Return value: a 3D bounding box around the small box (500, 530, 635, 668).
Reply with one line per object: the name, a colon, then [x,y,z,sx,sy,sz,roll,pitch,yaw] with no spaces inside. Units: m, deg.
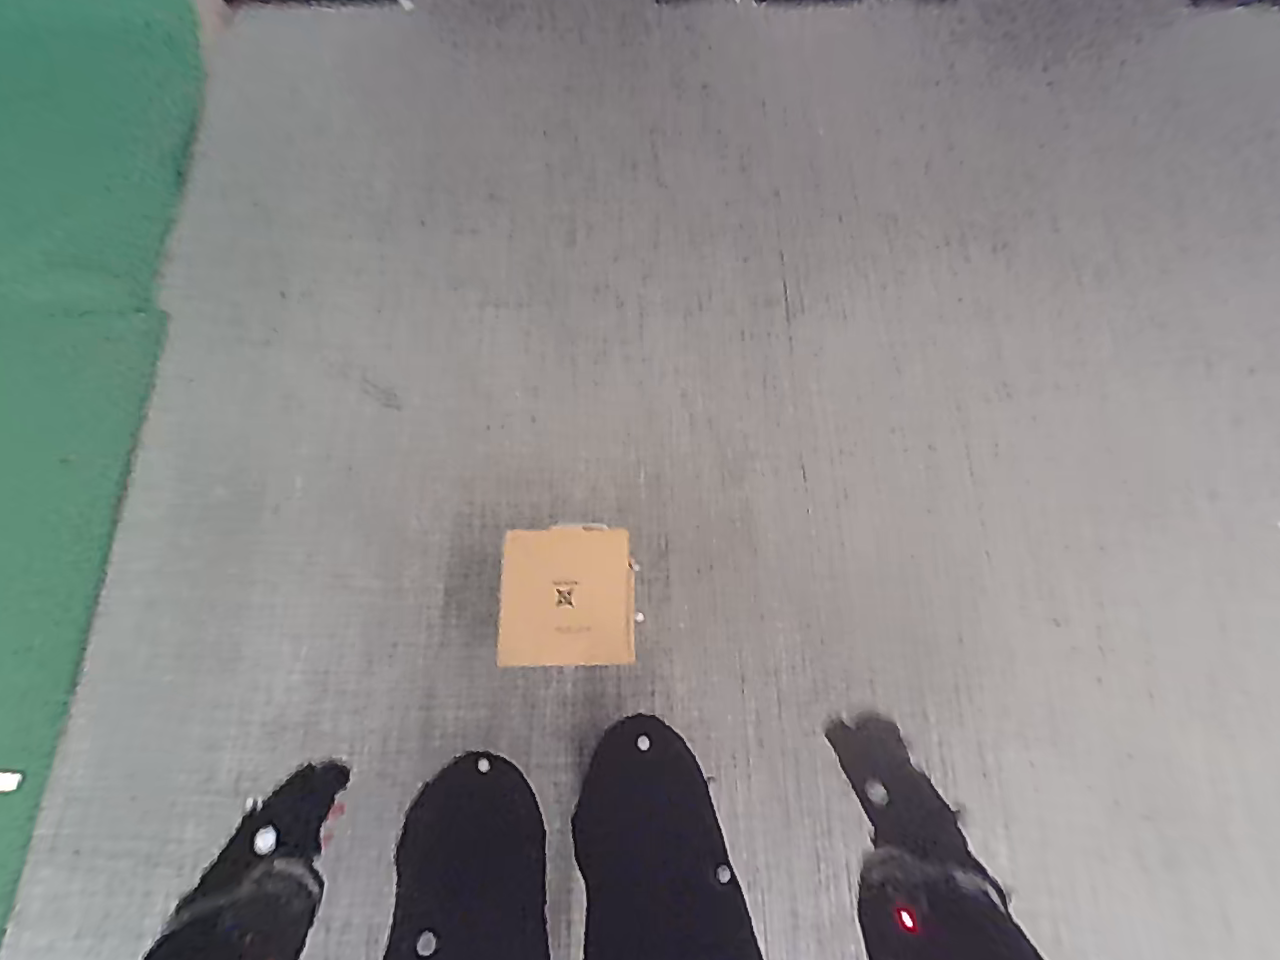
small box: [-0.093,0.173,0.776,0.168,0.176,0.179,-1,75,2]
